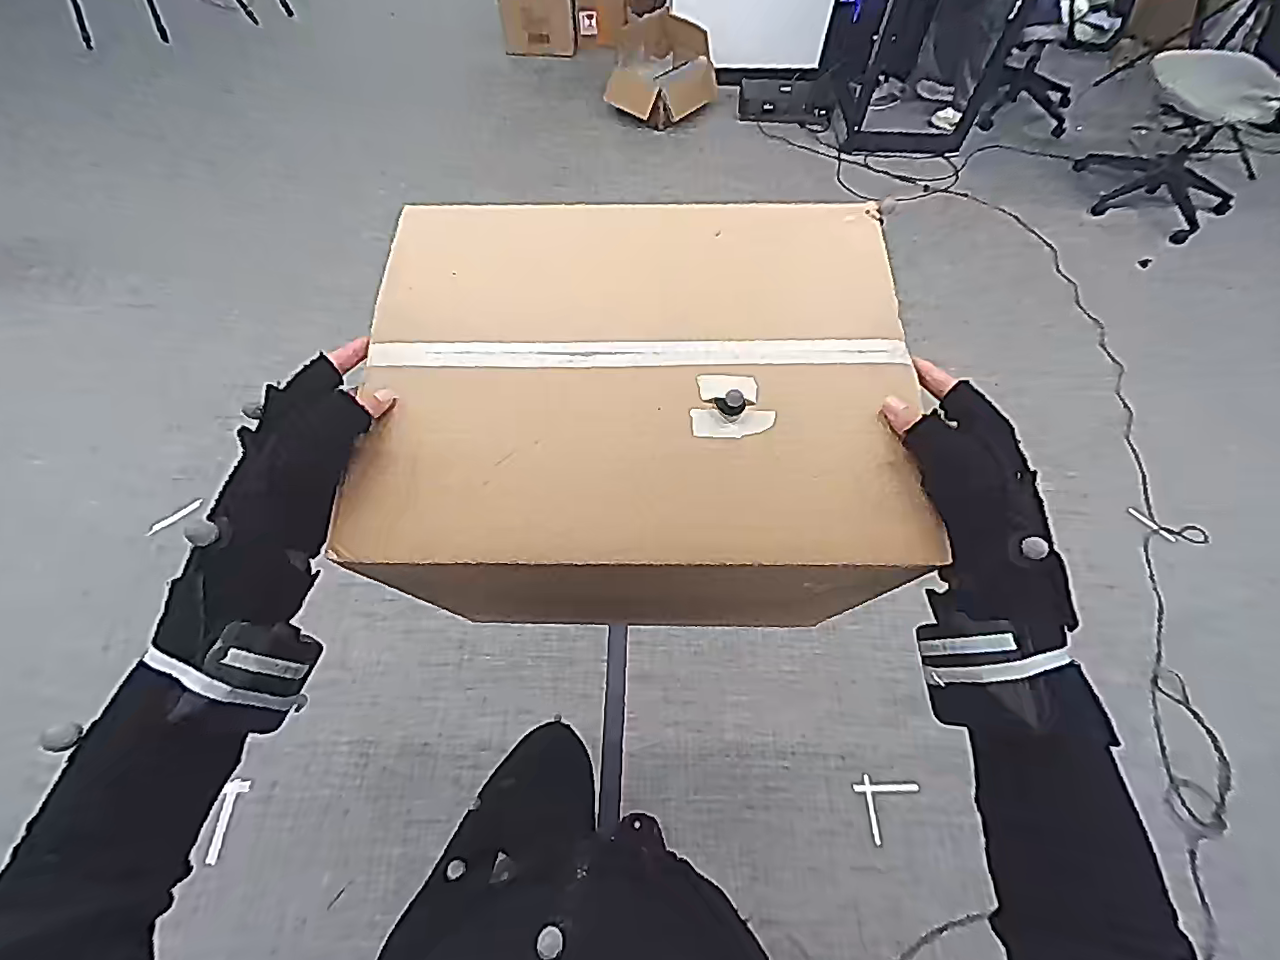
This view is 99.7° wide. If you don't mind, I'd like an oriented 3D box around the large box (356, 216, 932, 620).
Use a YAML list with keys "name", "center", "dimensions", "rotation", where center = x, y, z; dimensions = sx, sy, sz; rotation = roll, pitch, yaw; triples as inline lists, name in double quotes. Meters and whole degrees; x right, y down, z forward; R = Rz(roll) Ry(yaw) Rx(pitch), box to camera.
- name: "large box"
  center: [0.001, -0.034, 0.559]
  dimensions: [0.408, 0.320, 0.320]
  rotation: [0, 69, 0]
